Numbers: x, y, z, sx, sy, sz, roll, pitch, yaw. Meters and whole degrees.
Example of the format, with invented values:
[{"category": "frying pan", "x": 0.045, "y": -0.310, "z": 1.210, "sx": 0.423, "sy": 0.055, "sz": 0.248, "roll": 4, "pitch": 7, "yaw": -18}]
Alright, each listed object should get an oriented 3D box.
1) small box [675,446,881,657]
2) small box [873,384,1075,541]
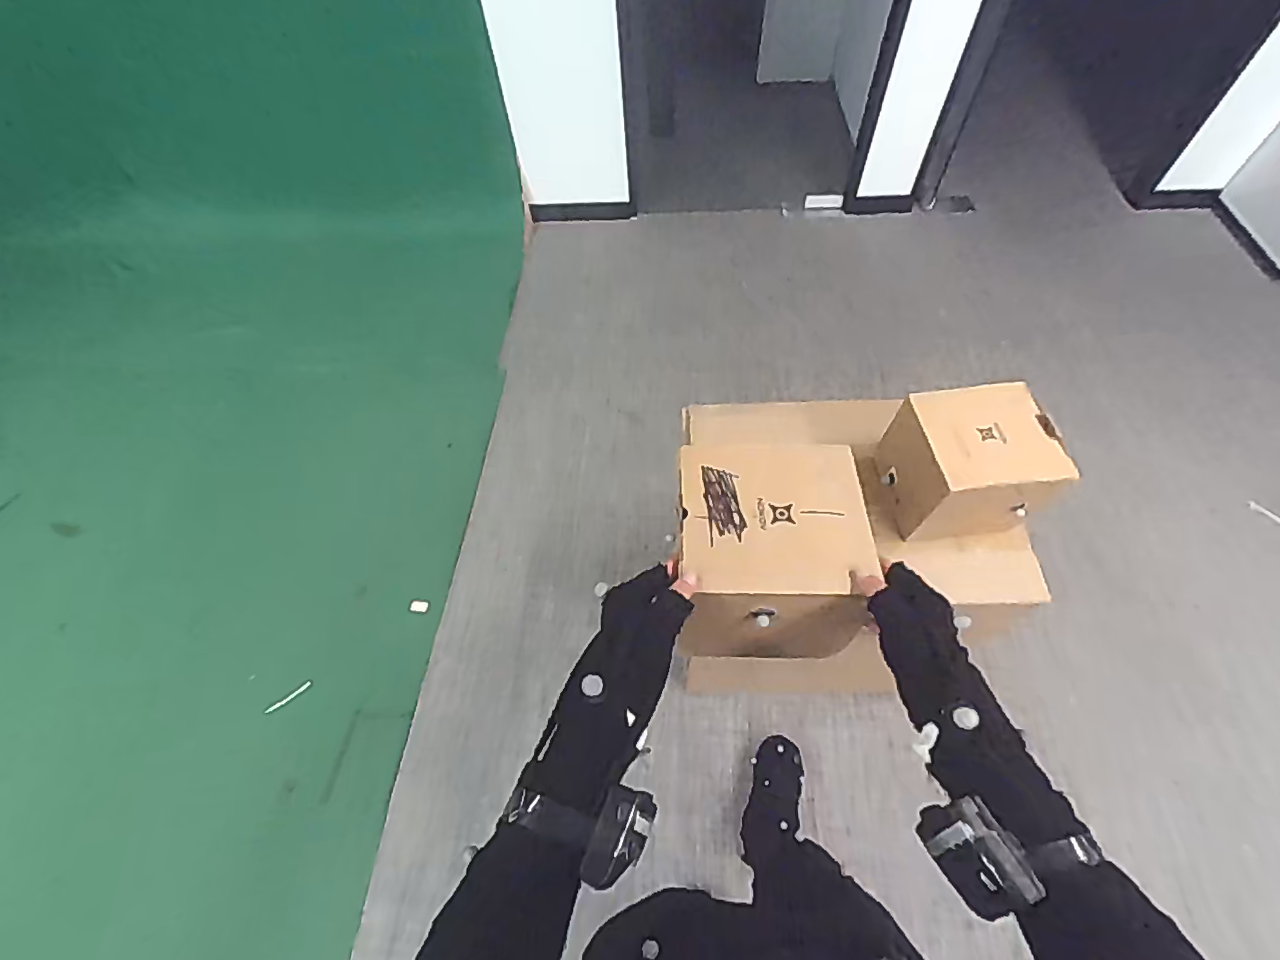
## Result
[{"category": "small box", "x": 0.126, "y": 0.080, "z": 0.572, "sx": 0.179, "sy": 0.176, "sz": 0.168, "roll": 0, "pitch": 54, "yaw": 3}, {"category": "small box", "x": 0.486, "y": -0.021, "z": 0.820, "sx": 0.179, "sy": 0.176, "sz": 0.168, "roll": -8, "pitch": 59, "yaw": 1}]
